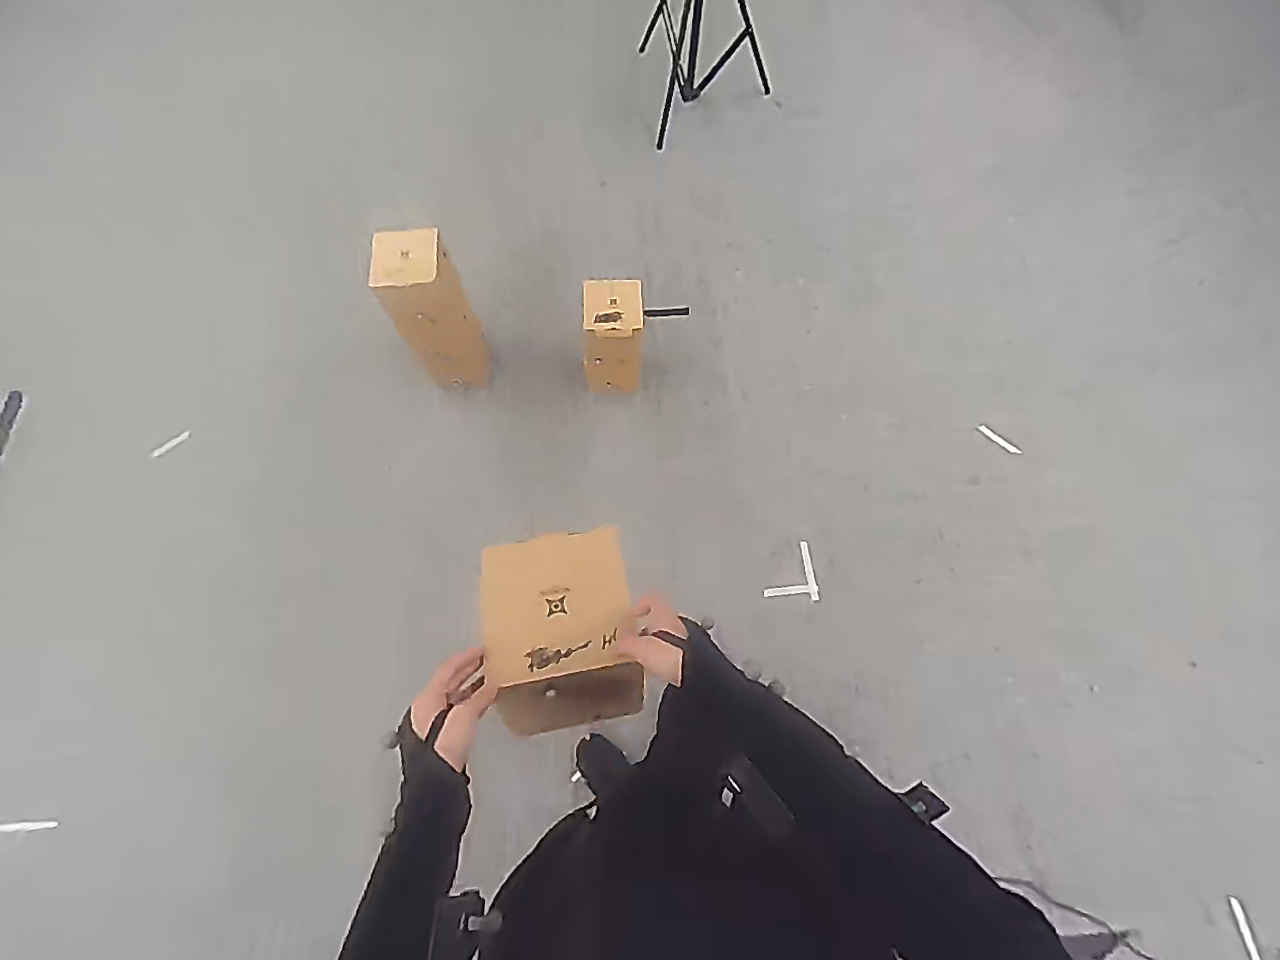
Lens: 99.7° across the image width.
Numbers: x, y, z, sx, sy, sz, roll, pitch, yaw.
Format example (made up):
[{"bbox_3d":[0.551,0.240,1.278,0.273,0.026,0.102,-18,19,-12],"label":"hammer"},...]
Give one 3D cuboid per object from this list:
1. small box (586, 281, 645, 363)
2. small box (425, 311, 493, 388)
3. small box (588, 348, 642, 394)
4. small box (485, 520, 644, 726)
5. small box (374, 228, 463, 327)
[{"bbox_3d":[-0.070,-0.457,1.582,0.168,0.176,0.179,-1,68,-2],"label":"small box"},{"bbox_3d":[-0.574,-0.415,1.732,0.168,0.176,0.179,-5,68,-2],"label":"small box"},{"bbox_3d":[-0.080,-0.396,1.734,0.168,0.176,0.179,-1,69,-2],"label":"small box"},{"bbox_3d":[-0.091,0.177,0.669,0.168,0.176,0.179,-8,49,-7],"label":"small box"},{"bbox_3d":[-0.575,-0.529,1.425,0.168,0.176,0.179,-5,69,-2],"label":"small box"}]
